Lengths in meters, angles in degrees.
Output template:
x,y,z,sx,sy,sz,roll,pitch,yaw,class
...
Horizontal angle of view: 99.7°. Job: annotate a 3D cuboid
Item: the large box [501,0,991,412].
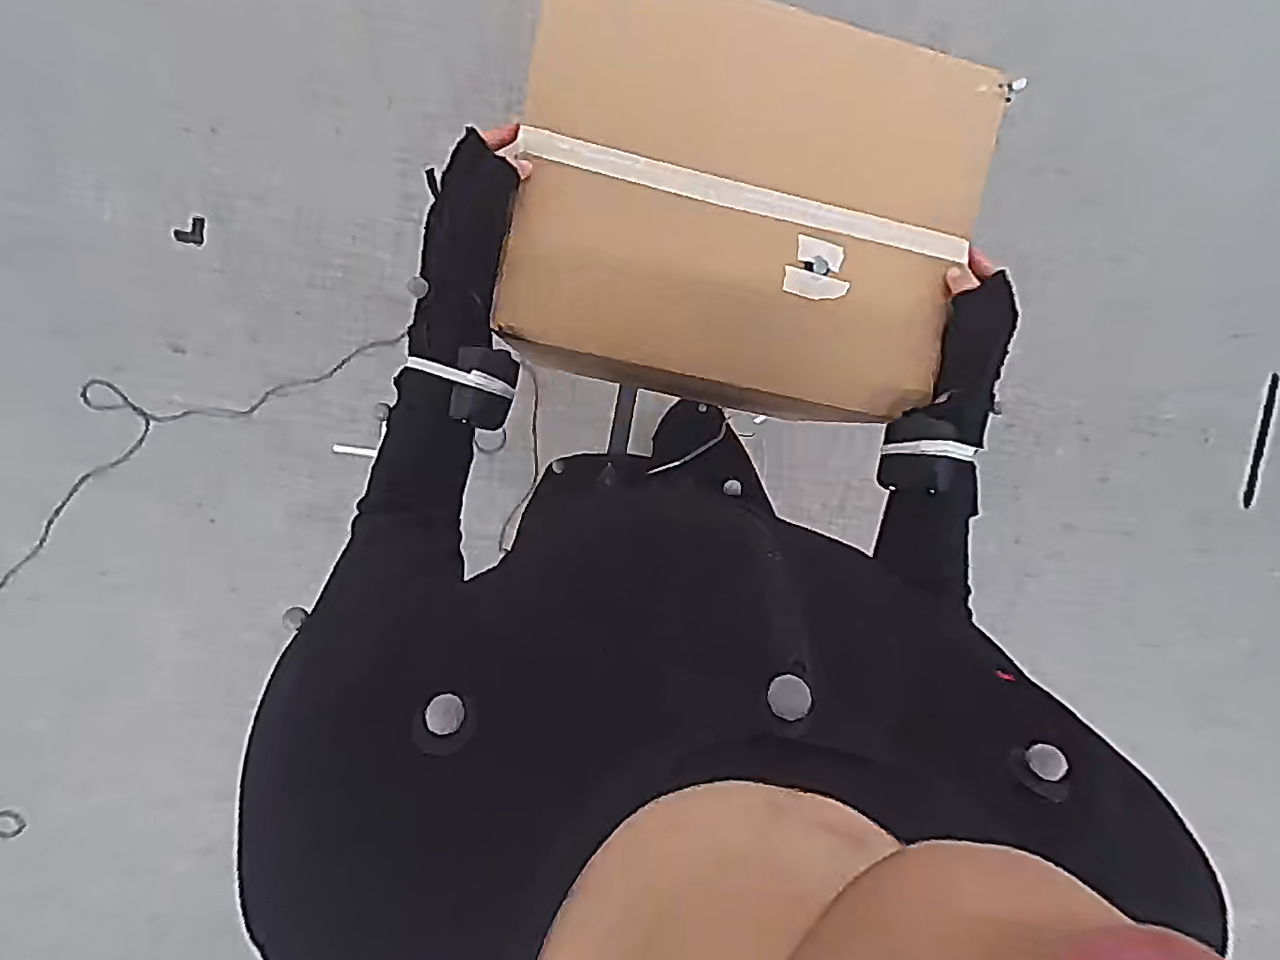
x,y,z,sx,sy,sz,roll,pitch,yaw,class
0.080,-0.267,0.625,0.408,0.320,0.320,11,97,-8,large box
